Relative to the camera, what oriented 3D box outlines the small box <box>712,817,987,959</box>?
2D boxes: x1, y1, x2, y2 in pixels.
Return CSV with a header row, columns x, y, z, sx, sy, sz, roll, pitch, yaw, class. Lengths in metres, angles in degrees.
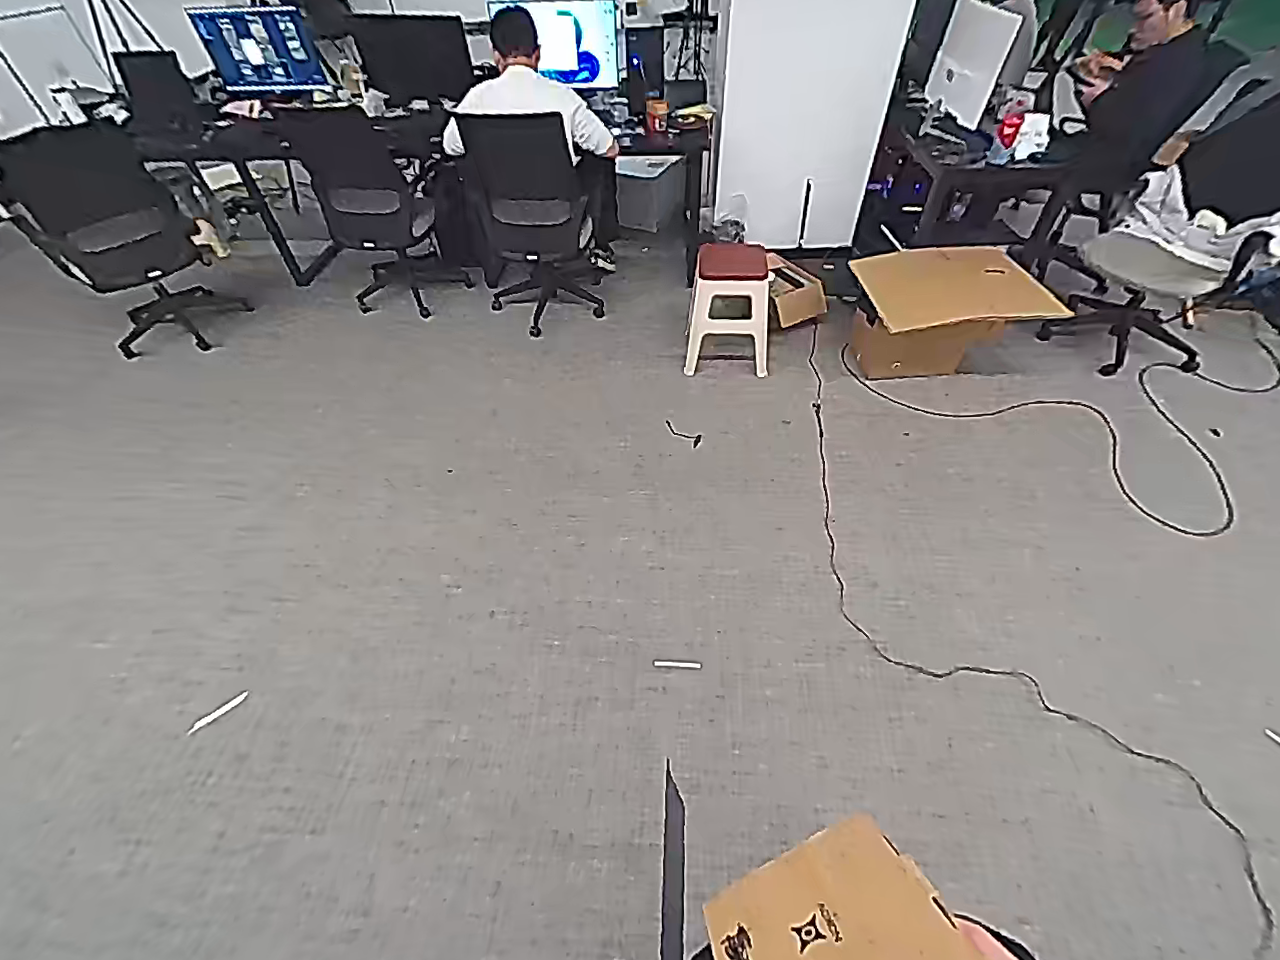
x,y,z,sx,sy,sz,roll,pitch,yaw,class
0.183,0.429,0.431,0.179,0.168,0.176,-26,90,-3,small box
